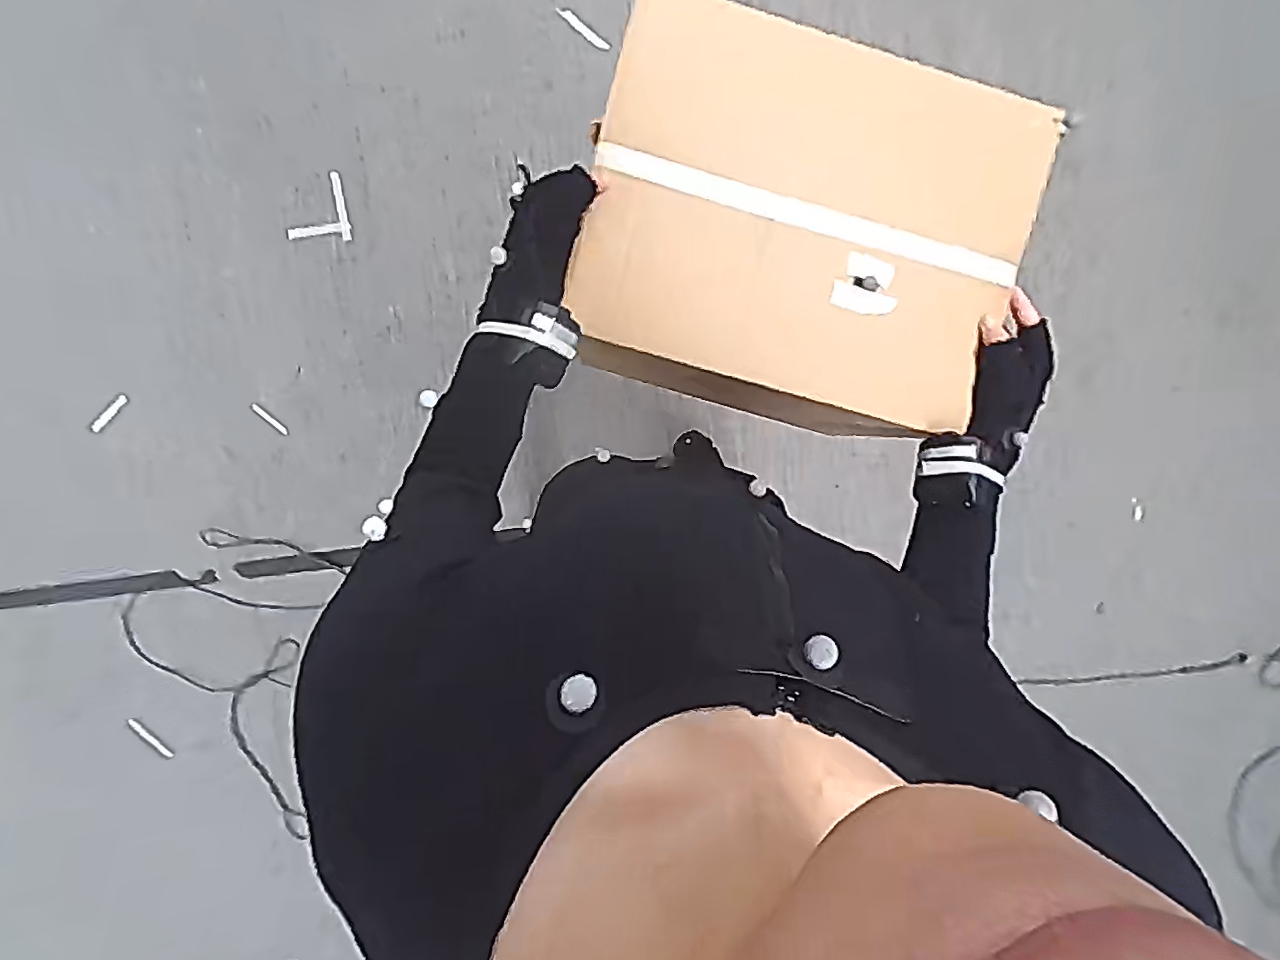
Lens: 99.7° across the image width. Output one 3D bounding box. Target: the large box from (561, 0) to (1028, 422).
[{"bbox_3d":[0.139,-0.264,0.664,0.408,0.320,0.320,13,96,-4],"label":"large box"}]
